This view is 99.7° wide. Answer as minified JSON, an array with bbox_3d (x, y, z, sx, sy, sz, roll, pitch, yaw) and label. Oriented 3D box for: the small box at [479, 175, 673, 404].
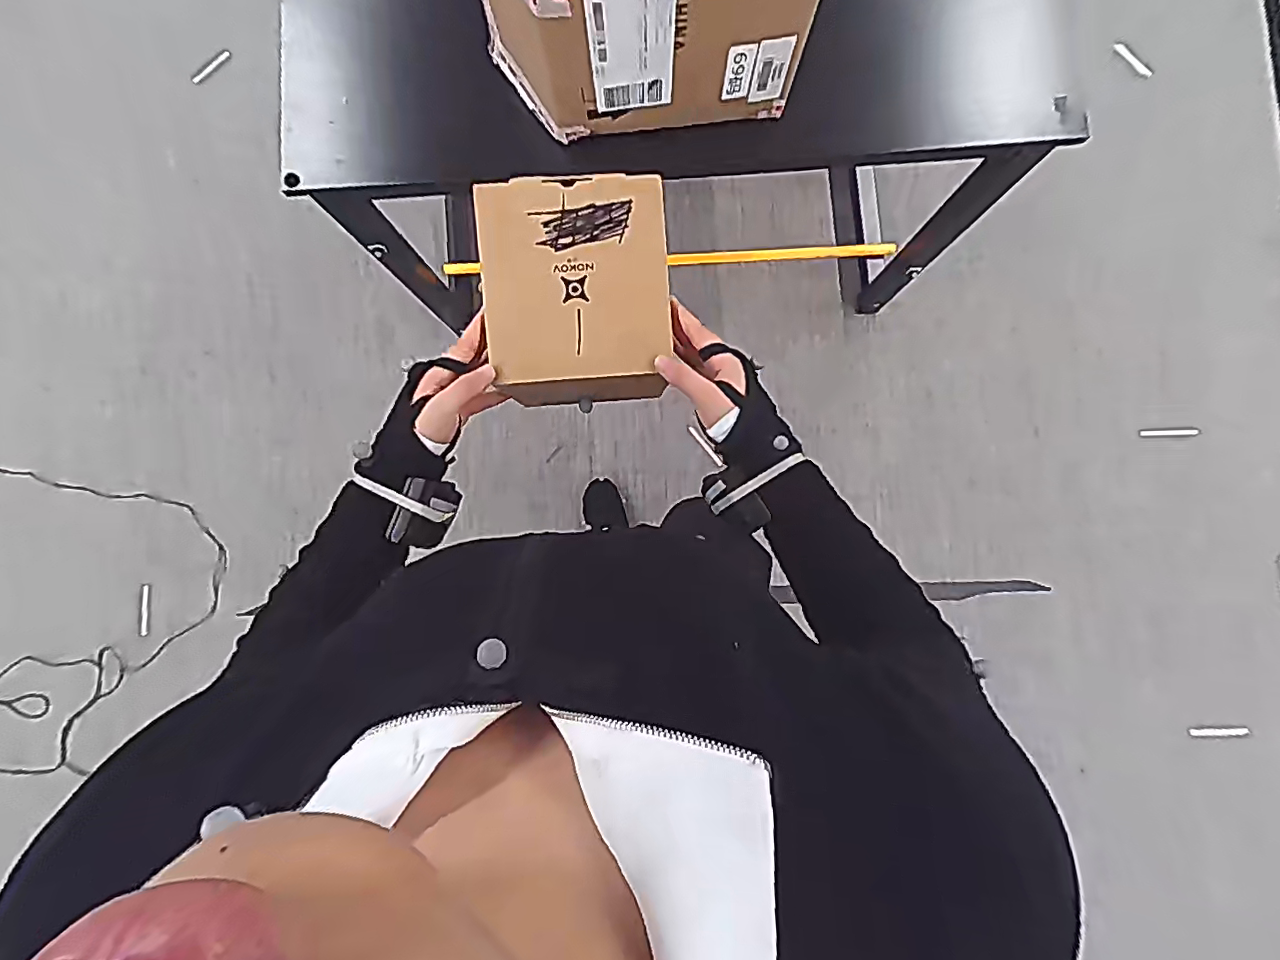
[{"bbox_3d":[-0.060,-0.180,0.556,0.168,0.176,0.179,-4,91,-2],"label":"small box"}]
